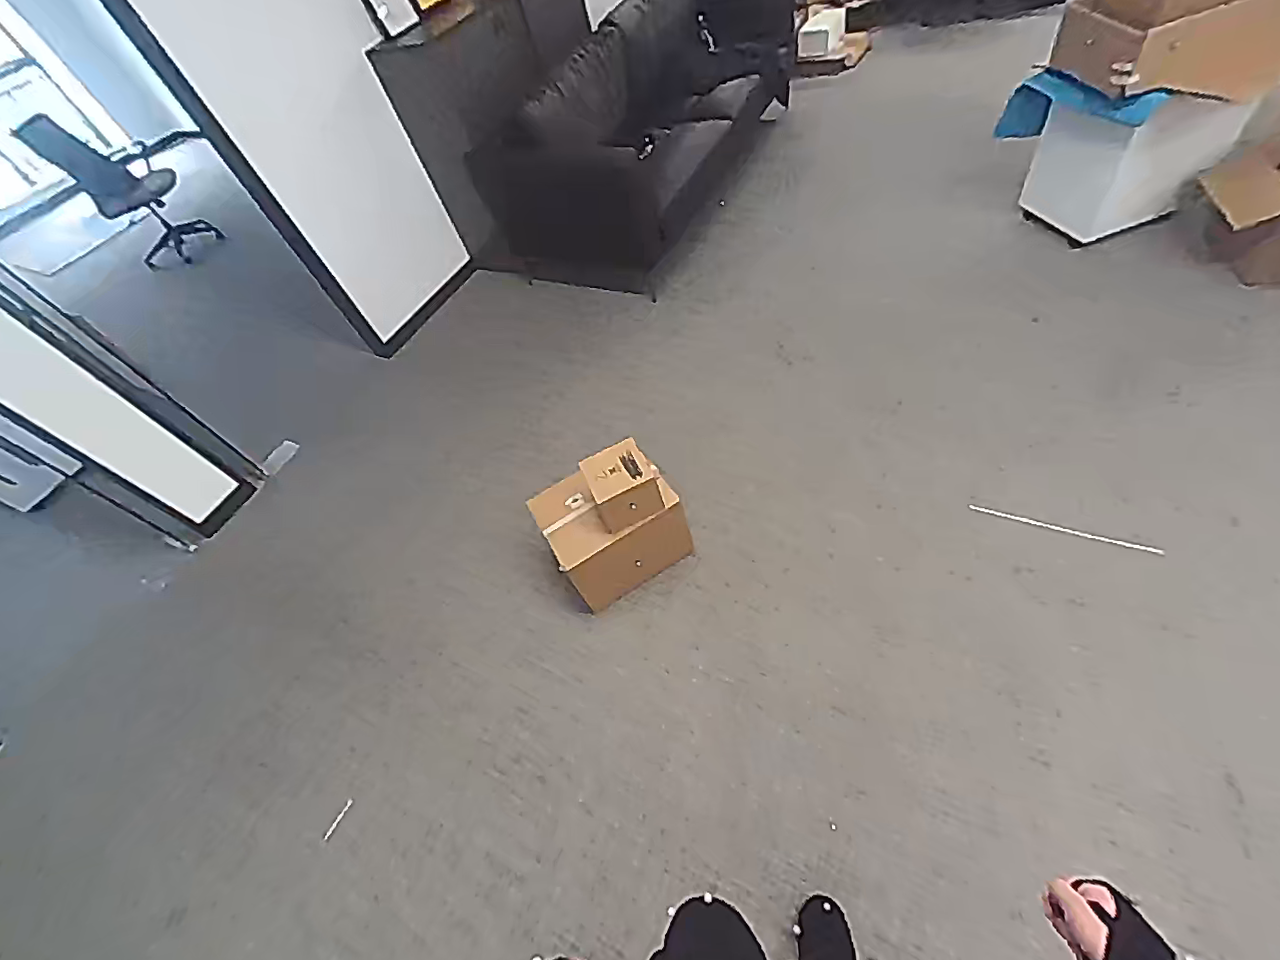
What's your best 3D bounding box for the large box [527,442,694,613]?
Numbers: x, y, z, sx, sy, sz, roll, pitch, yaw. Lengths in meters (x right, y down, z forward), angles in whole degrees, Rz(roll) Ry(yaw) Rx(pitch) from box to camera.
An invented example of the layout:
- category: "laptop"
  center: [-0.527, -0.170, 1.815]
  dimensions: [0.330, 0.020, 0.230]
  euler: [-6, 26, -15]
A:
- category: "large box"
  center: [-0.087, 0.157, 1.772]
  dimensions: [0.408, 0.320, 0.320]
  euler: [-32, 51, -8]
